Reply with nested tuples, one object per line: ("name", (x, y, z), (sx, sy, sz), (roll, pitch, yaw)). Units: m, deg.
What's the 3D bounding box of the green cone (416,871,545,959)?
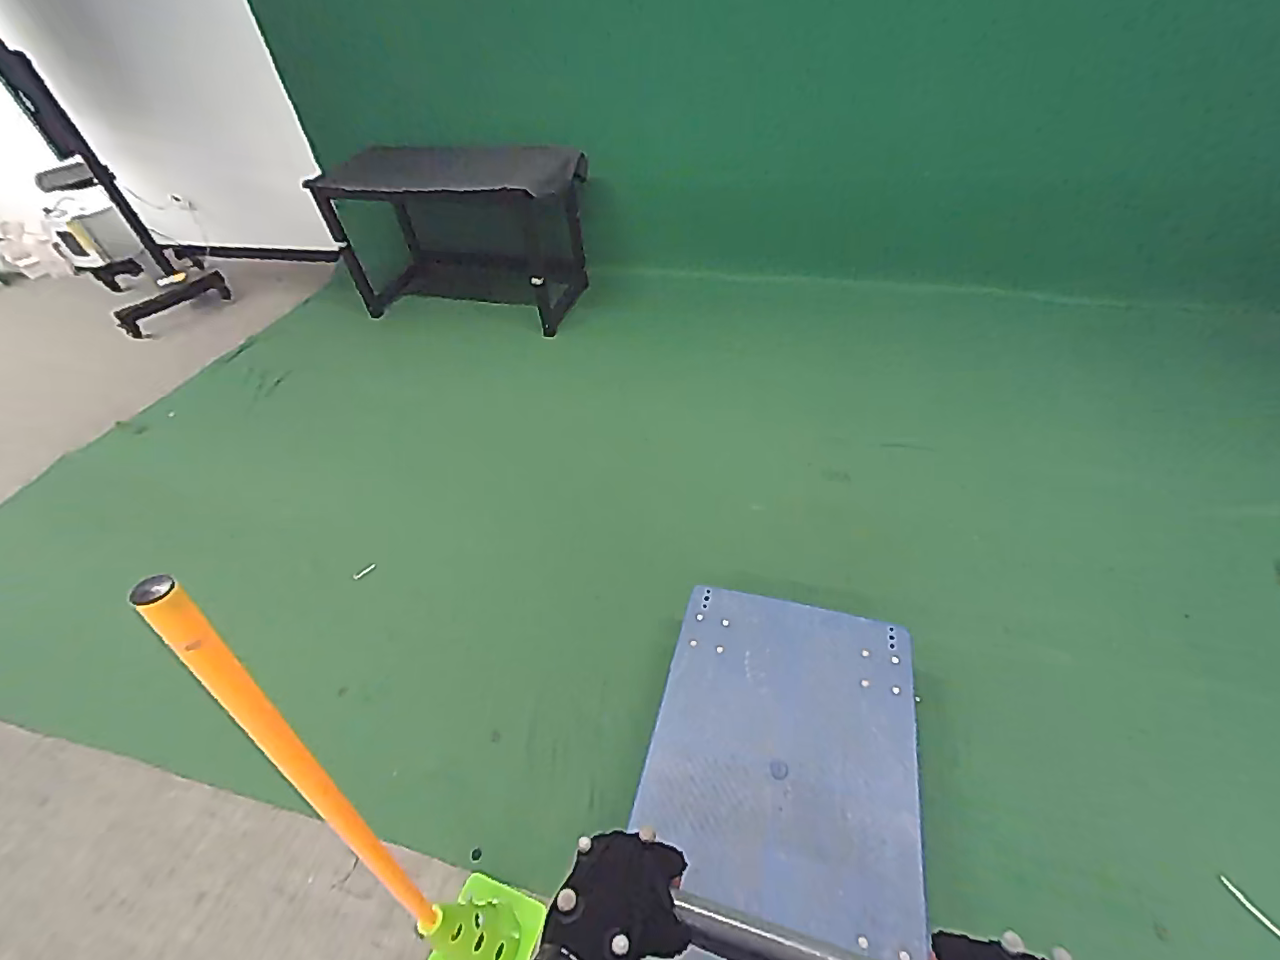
("green cone", (-0.337, 0.854, 1.033), (0.202, 0.368, 0.200), (11, 46, 17))
